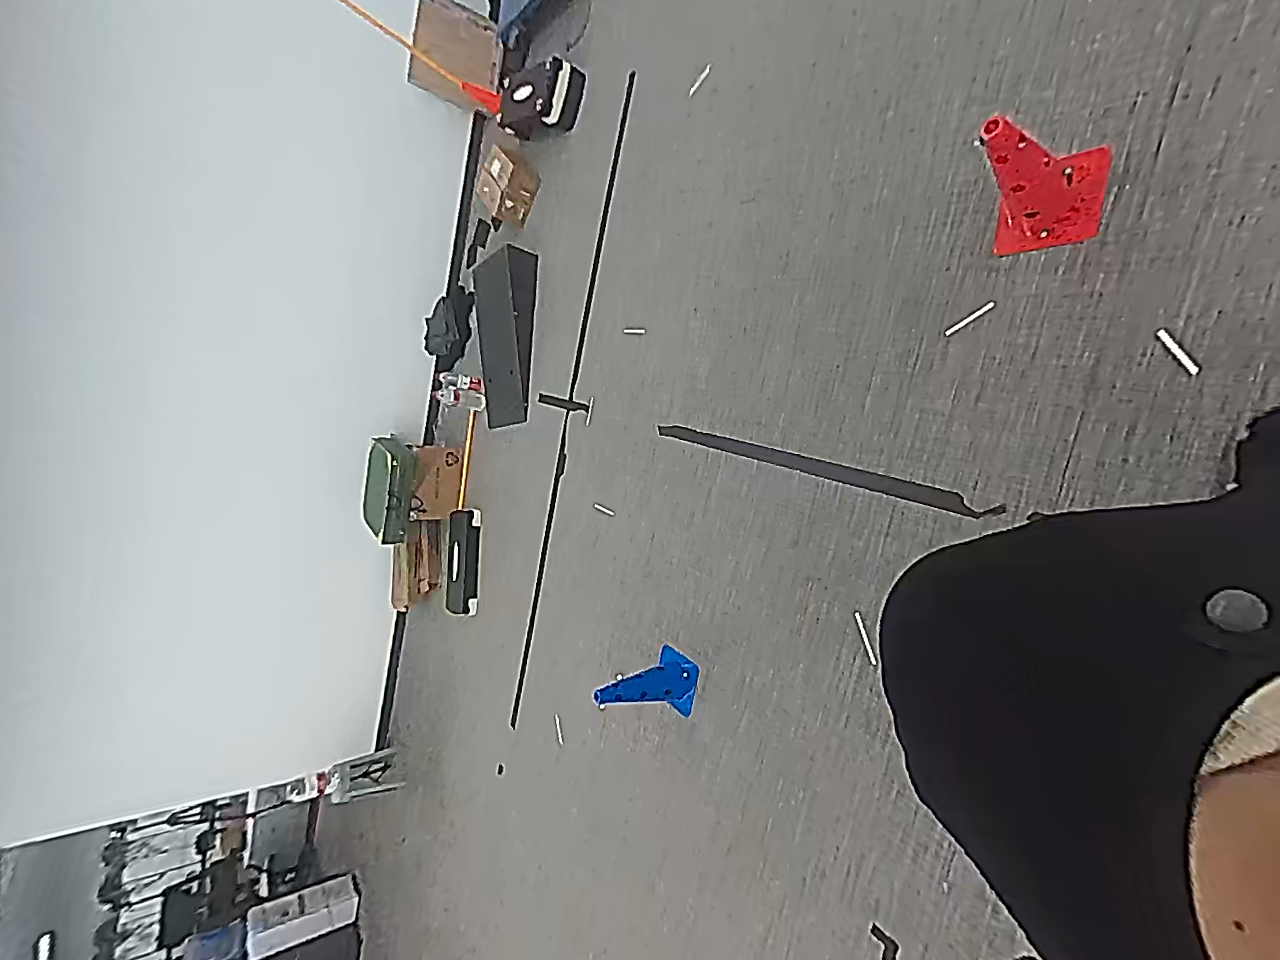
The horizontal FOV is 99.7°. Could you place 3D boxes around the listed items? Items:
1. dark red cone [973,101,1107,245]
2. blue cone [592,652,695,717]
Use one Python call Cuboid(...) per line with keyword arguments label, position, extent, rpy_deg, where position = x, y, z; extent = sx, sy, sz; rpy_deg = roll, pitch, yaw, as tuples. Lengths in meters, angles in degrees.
Cuboid(label="dark red cone", position=(0.755, -0.637, 1.076), extent=(0.202, 0.394, 0.201), rpy_deg=(9, 94, 51))
Cuboid(label="blue cone", position=(-0.001, 0.736, 1.878), extent=(0.193, 0.380, 0.192), rpy_deg=(22, 103, 50))
